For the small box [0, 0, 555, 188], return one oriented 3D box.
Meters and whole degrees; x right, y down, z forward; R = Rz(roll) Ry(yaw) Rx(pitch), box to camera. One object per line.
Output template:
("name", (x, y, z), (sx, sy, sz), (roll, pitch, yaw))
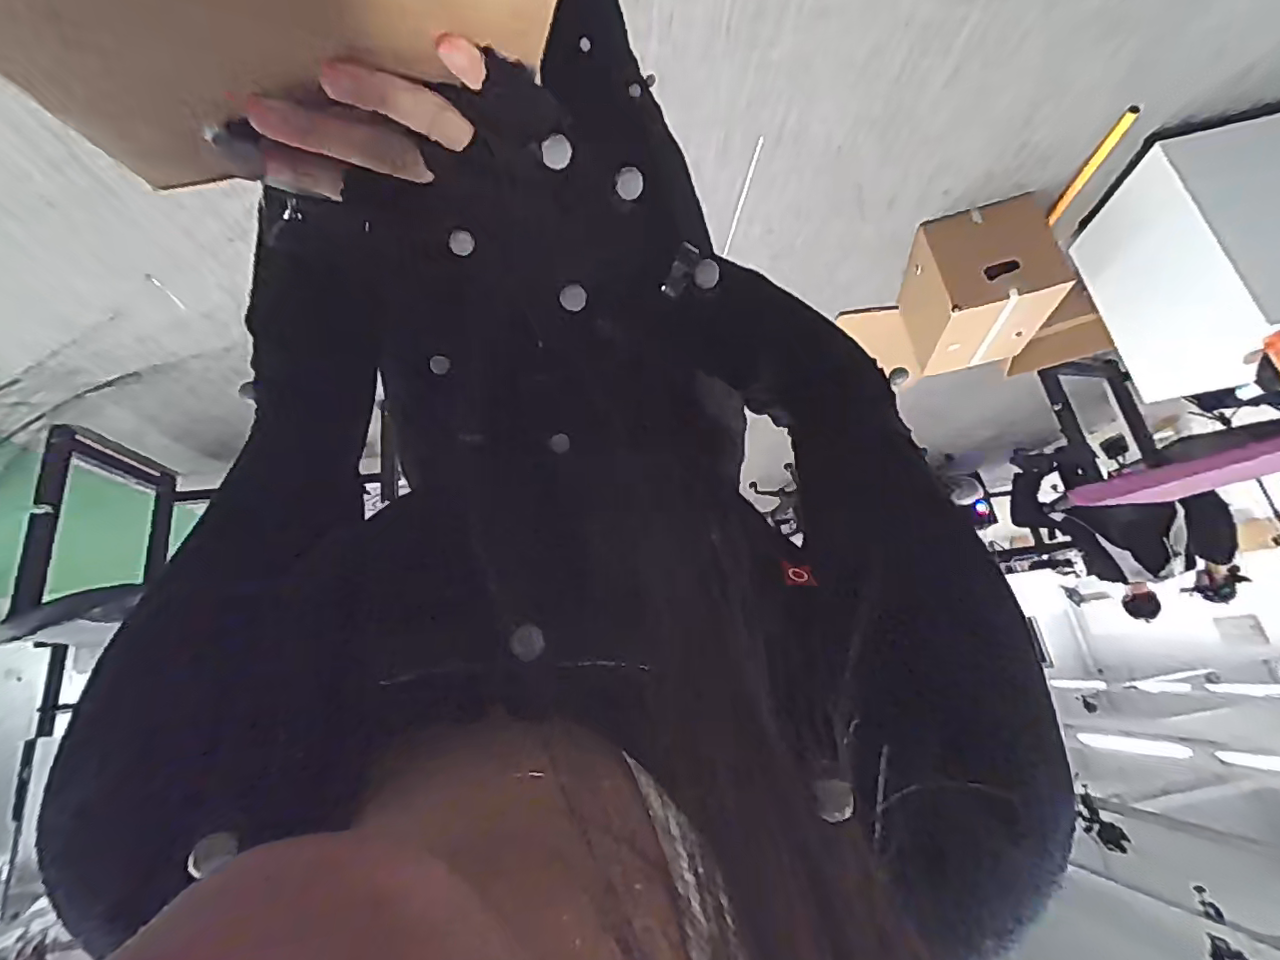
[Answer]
("small box", (-0.133, -0.223, 0.166), (0.179, 0.168, 0.176), (-24, -164, -15))
